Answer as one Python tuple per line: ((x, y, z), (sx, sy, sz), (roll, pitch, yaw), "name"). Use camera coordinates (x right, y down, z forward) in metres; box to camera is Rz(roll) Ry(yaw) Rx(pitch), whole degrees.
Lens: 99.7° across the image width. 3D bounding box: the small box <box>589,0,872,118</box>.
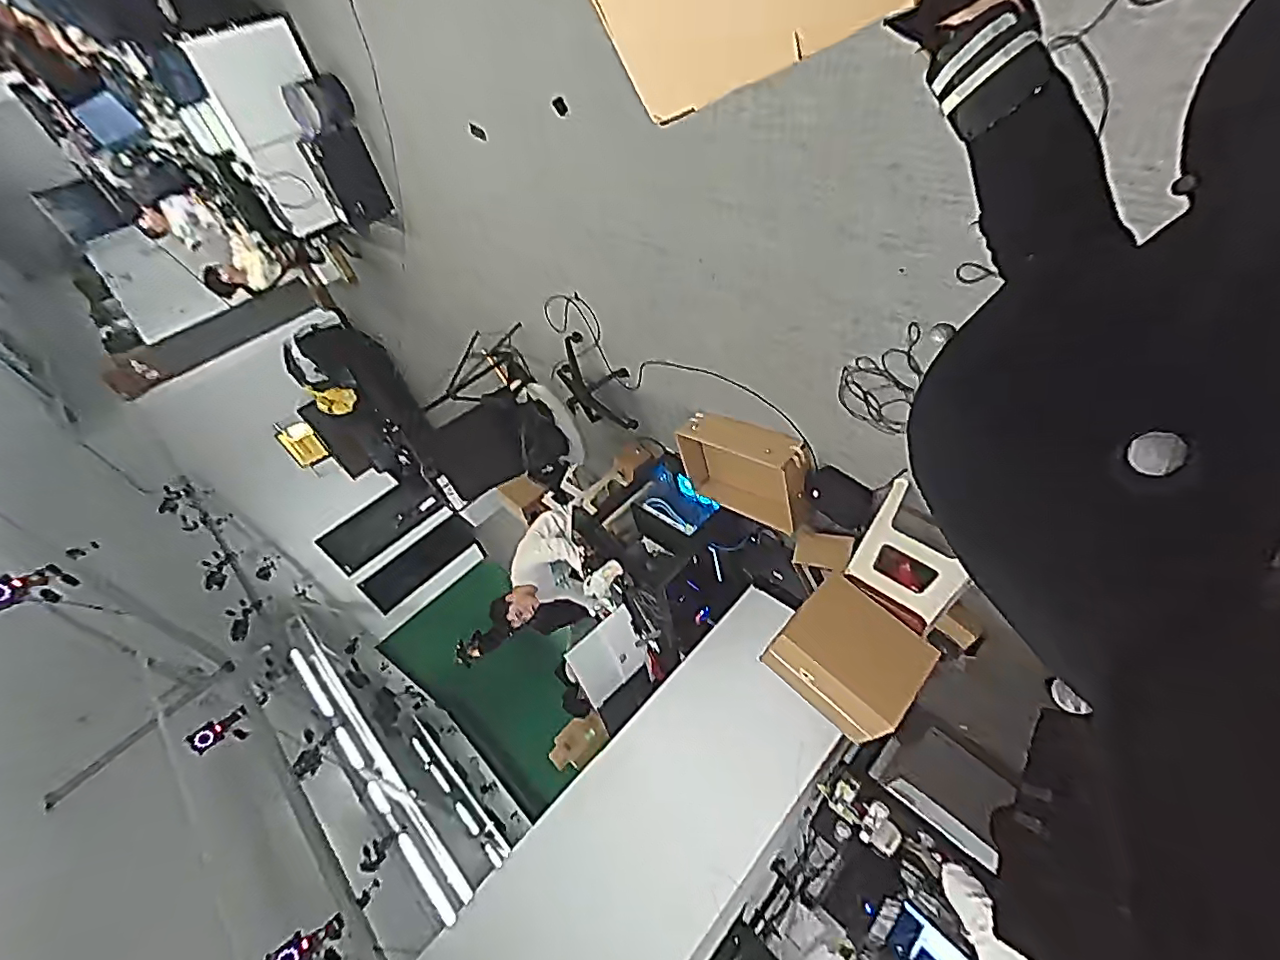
((0.048, -0.354, 0.290), (0.168, 0.179, 0.176), (1, 149, 38), "small box")
